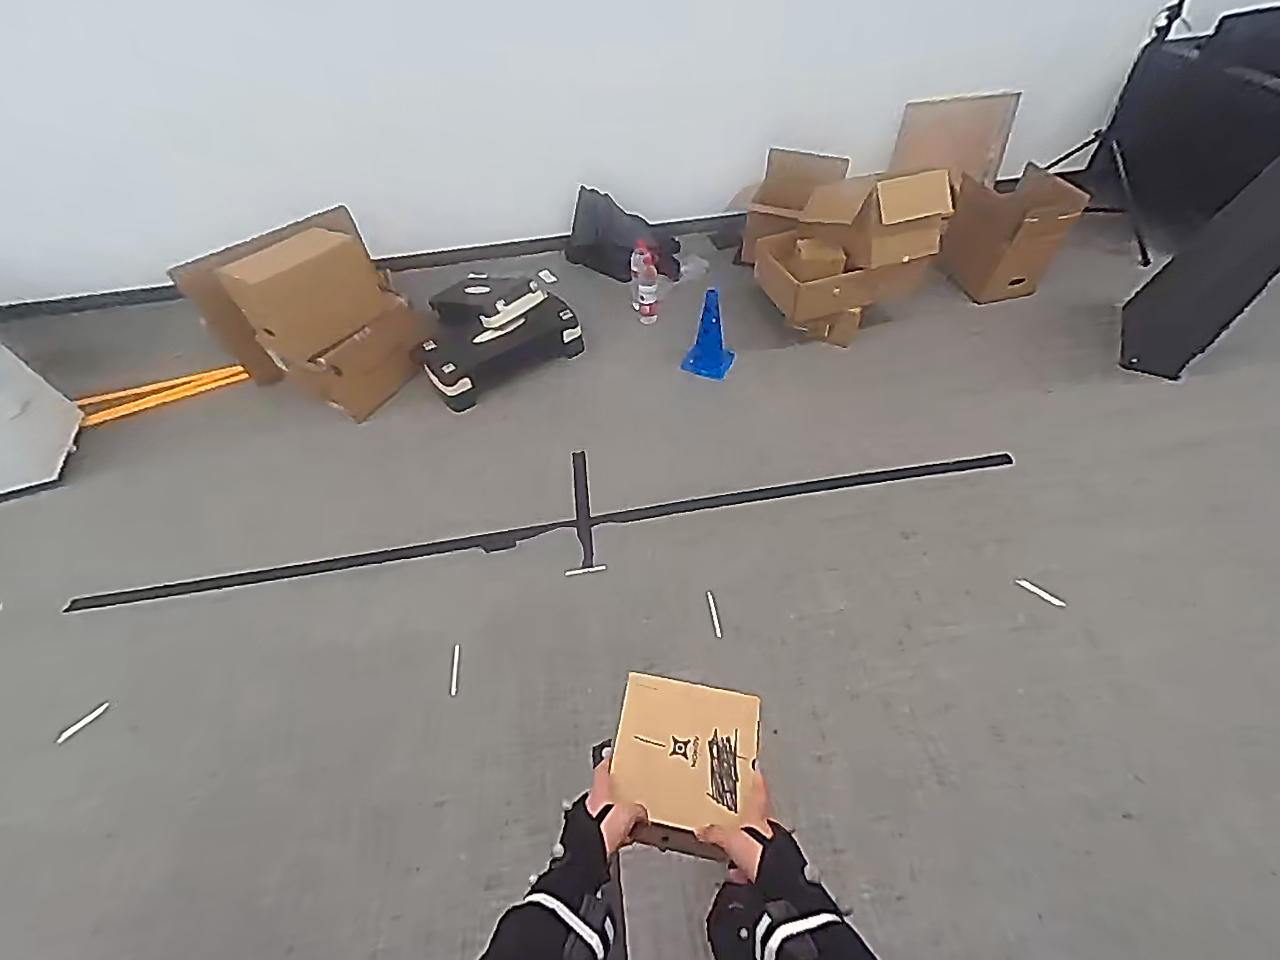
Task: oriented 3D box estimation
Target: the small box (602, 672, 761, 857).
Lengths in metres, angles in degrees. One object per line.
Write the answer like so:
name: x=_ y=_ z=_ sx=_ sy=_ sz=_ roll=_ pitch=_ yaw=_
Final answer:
small box: x=0.052 y=0.382 z=0.718 sx=0.179 sy=0.176 sz=0.168 roll=10 pitch=49 yaw=5
